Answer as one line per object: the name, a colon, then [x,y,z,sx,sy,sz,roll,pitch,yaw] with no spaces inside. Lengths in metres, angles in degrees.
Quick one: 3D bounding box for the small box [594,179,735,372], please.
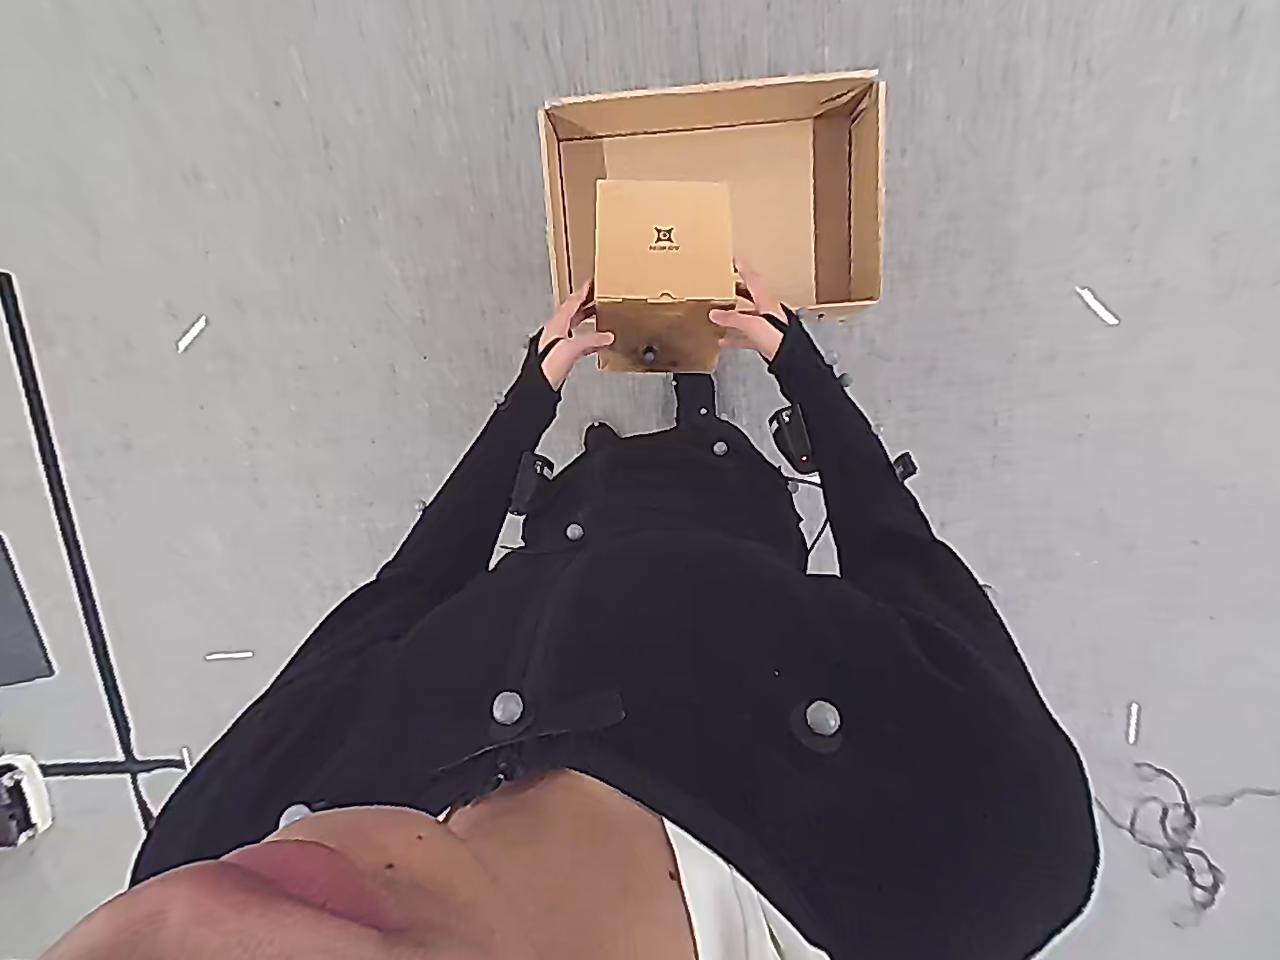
small box: [0.025,-0.262,0.717,0.168,0.176,0.179,0,73,-2]
